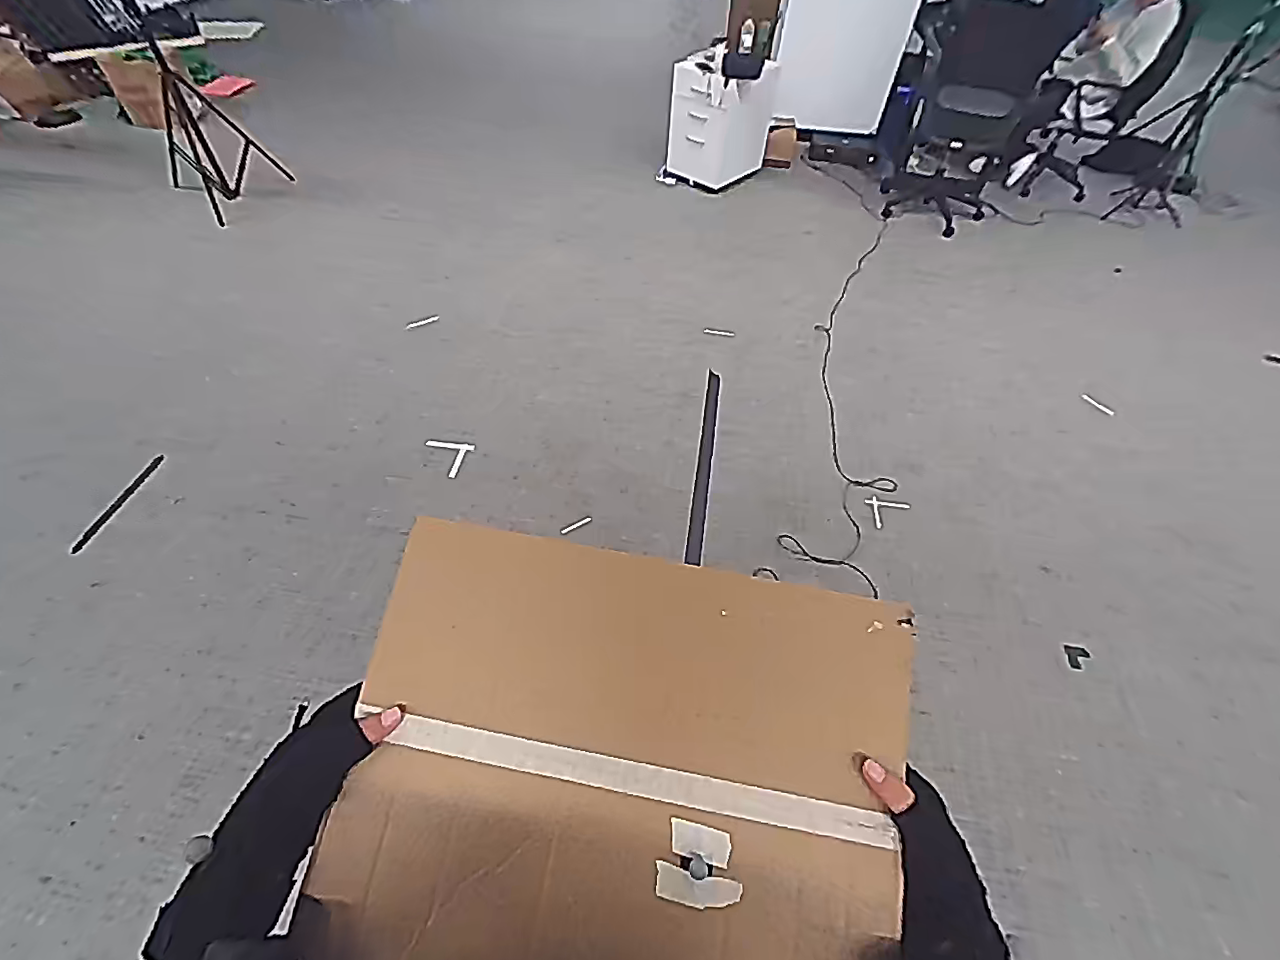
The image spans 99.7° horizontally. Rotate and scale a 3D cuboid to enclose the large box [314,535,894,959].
[{"bbox_3d":[-0.011,0.264,0.554,0.408,0.320,0.320,10,74,4],"label":"large box"}]
